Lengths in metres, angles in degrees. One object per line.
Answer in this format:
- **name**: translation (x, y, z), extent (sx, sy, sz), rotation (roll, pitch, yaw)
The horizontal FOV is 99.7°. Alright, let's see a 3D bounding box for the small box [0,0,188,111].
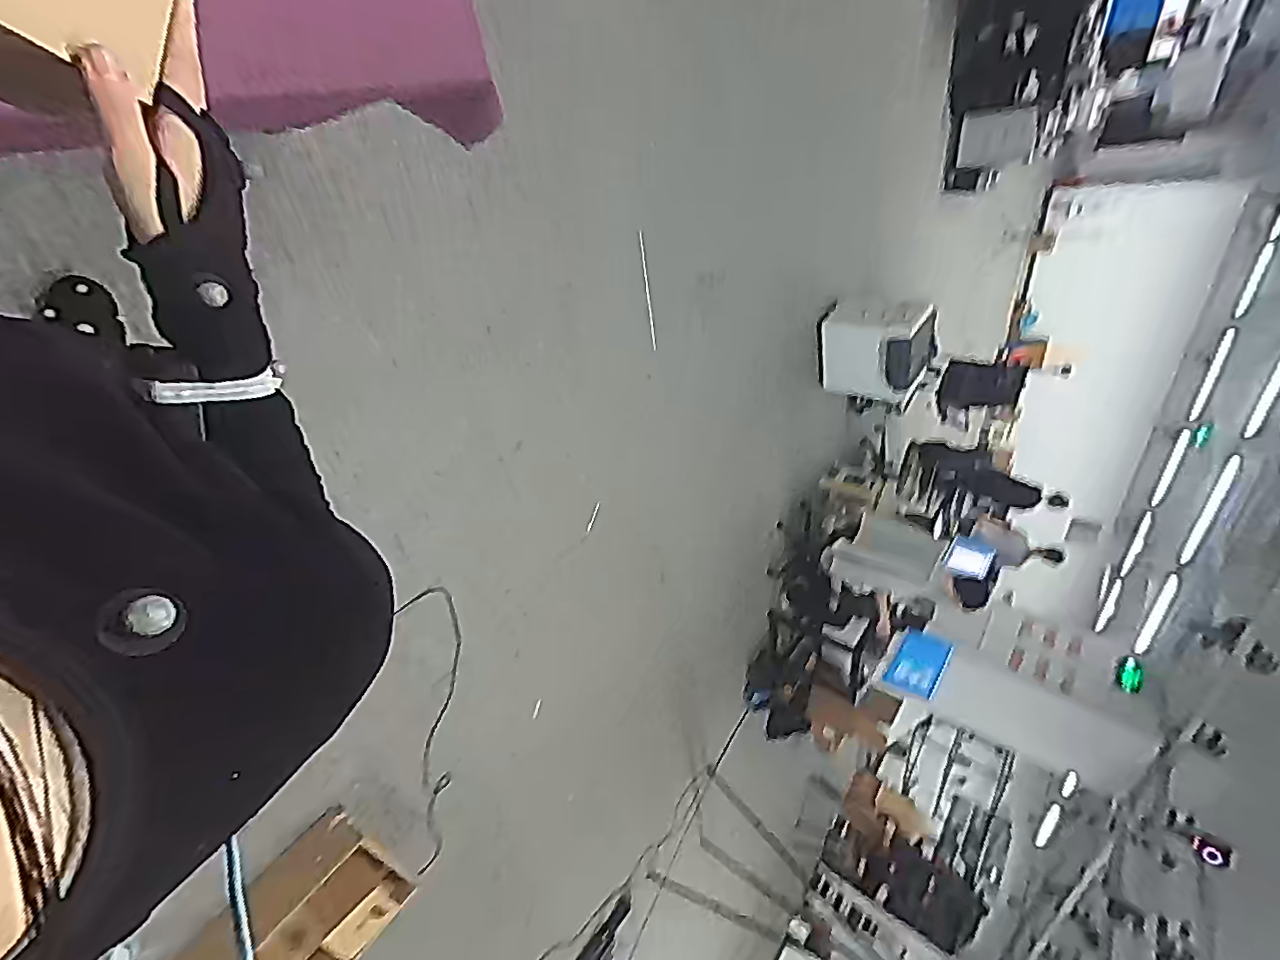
- **small box**: translation (-0.348, -0.305, 0.251), extent (0.179, 0.176, 0.168), rotation (11, 94, -64)
